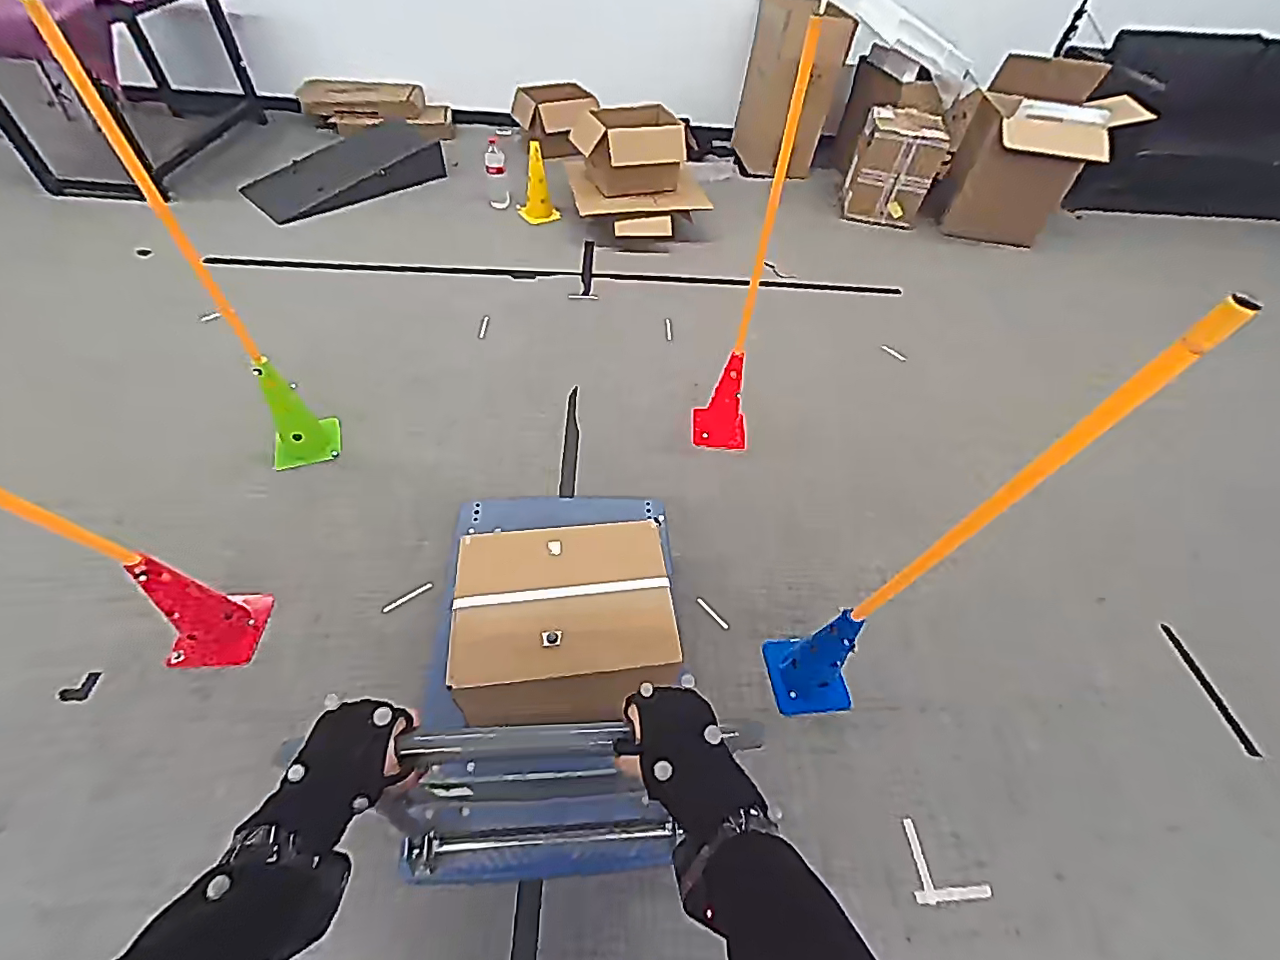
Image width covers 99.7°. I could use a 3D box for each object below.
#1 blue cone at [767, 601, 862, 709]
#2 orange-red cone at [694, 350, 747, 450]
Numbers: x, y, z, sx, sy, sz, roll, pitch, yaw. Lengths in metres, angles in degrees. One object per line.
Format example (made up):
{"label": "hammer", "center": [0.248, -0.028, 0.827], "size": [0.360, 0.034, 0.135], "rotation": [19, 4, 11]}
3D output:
{"label": "blue cone", "center": [0.464, 0.412, 1.334], "size": [0.193, 0.380, 0.192], "rotation": [-2, 50, -7]}
{"label": "orange-red cone", "center": [0.315, -0.300, 1.882], "size": [0.199, 0.360, 0.198], "rotation": [7, 51, -1]}
